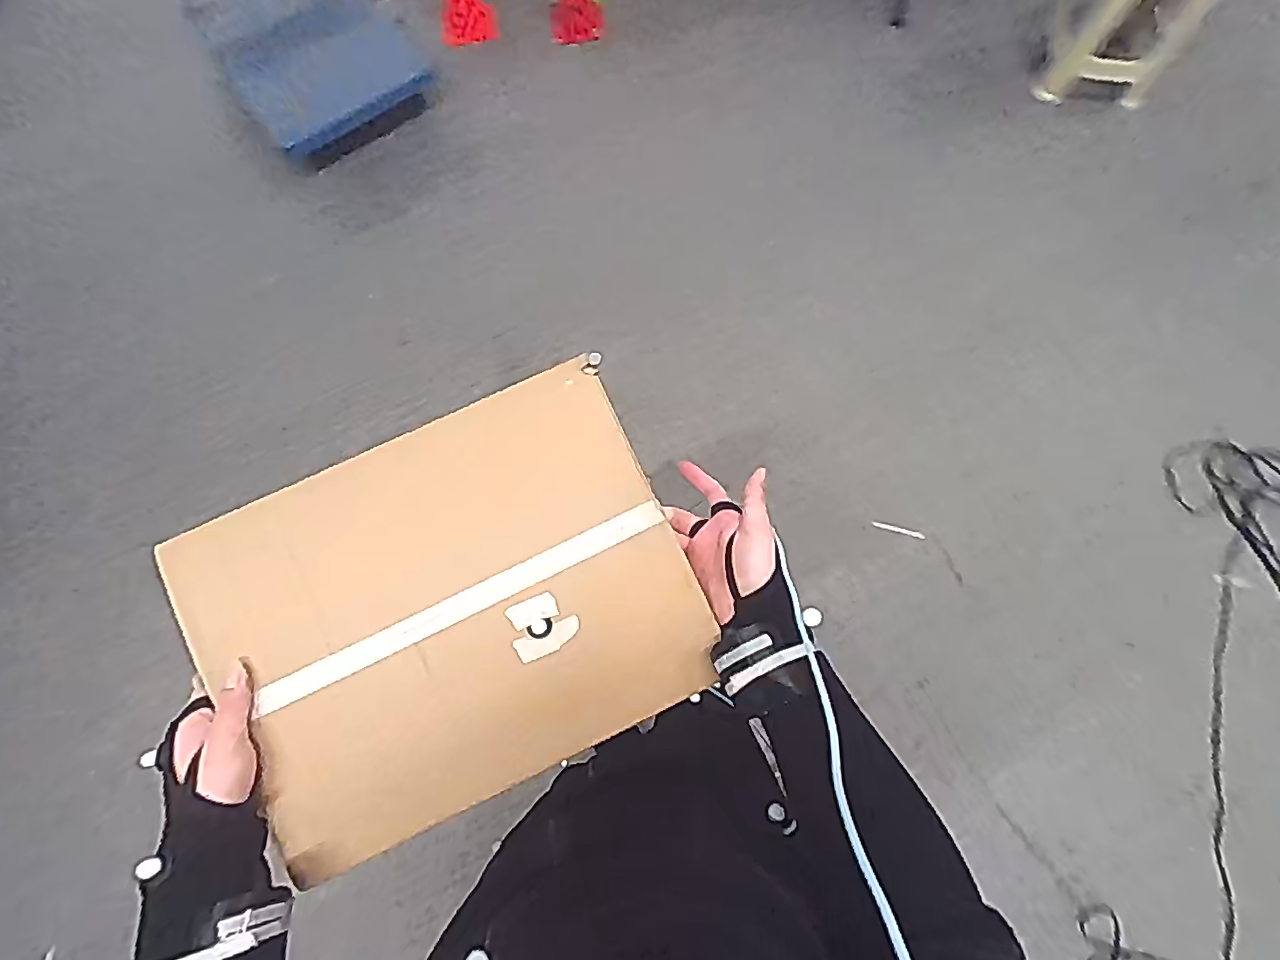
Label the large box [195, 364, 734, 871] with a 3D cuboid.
[{"bbox_3d":[-0.162,0.127,0.628,0.408,0.320,0.320,-25,86,-5],"label":"large box"}]
